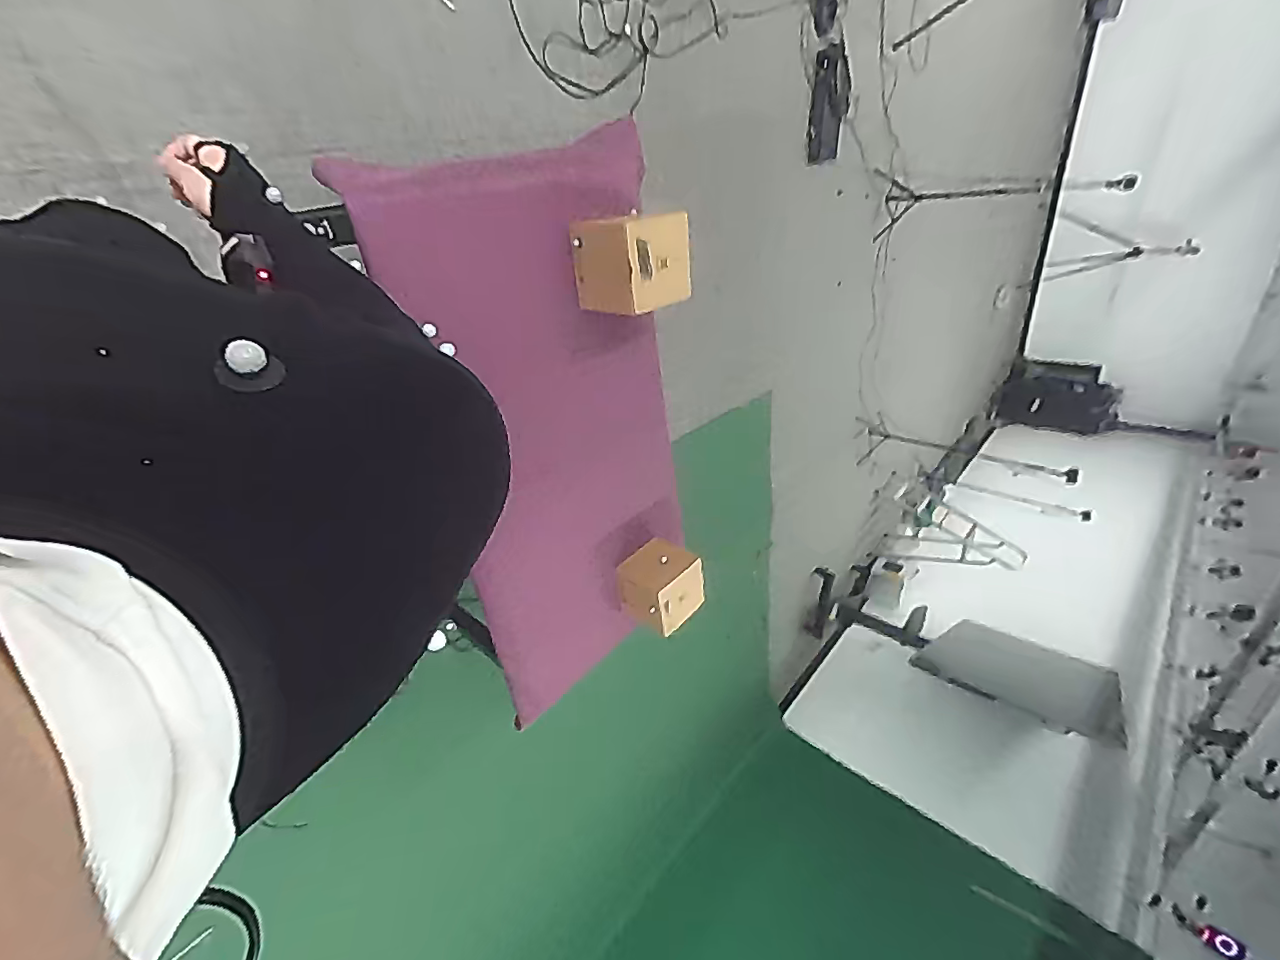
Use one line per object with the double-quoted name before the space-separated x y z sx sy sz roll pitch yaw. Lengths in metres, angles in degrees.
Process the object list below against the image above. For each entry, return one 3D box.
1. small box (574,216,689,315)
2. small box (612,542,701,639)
"small box" -0.021 -0.443 1.113 0.179 0.176 0.168 -30 127 -37
"small box" 0.047 0.298 1.502 0.179 0.176 0.168 -34 128 -36
